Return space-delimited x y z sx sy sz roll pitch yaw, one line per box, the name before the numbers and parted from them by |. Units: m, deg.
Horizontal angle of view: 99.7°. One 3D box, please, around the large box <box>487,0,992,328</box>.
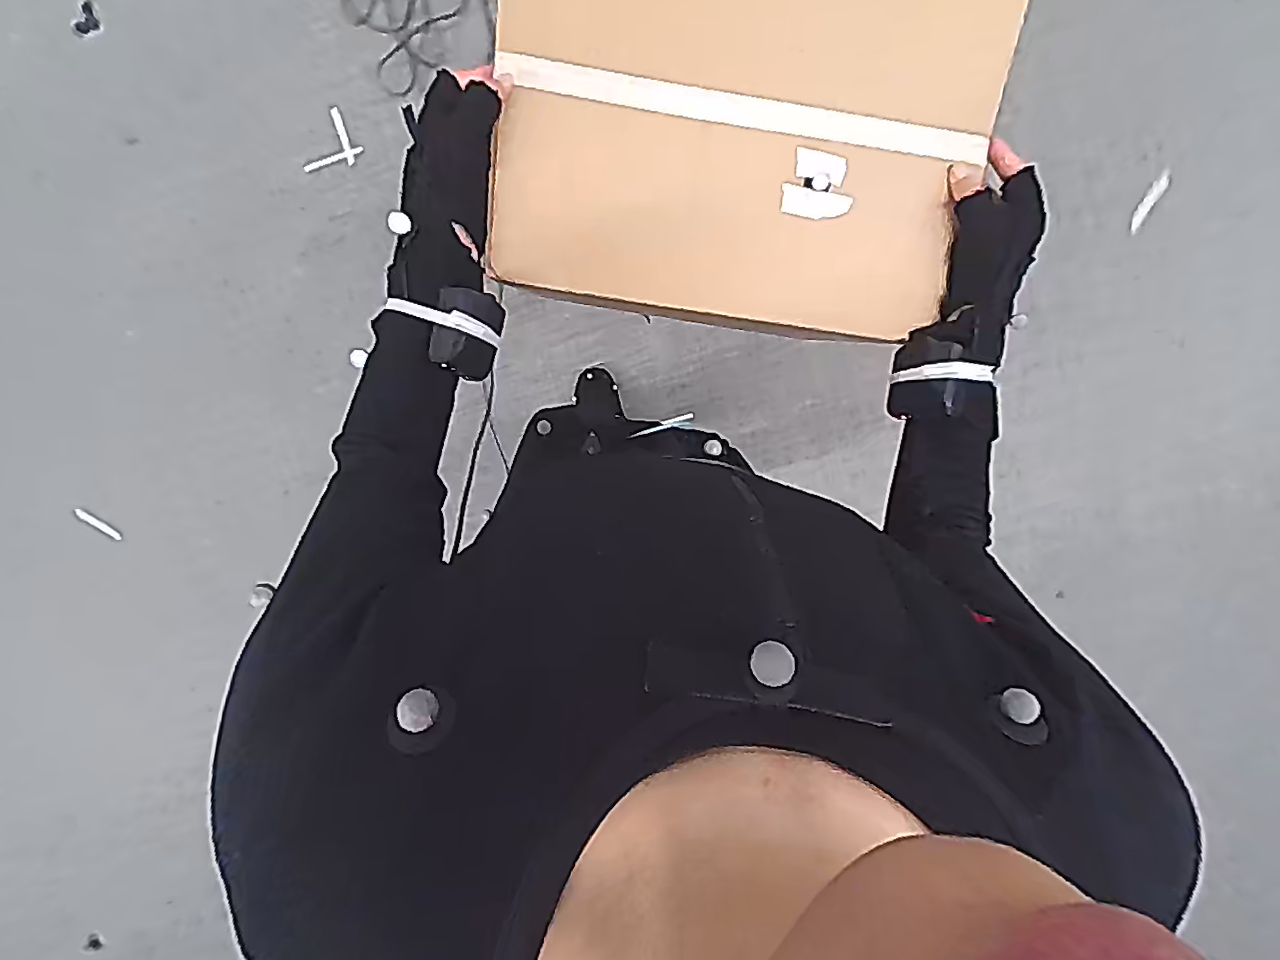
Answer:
large box | 0.068 -0.347 0.595 0.408 0.320 0.320 6 106 -5
